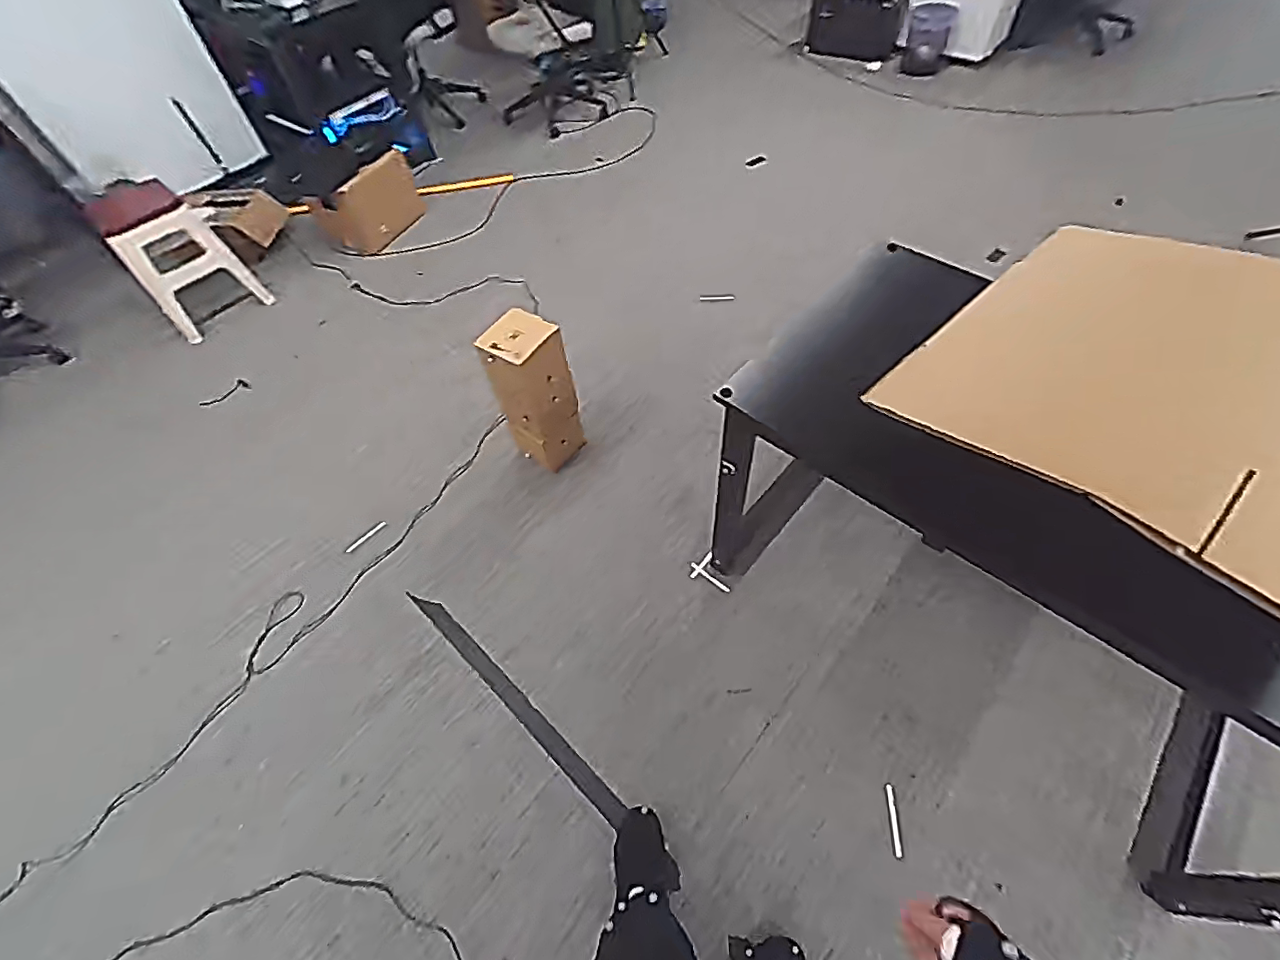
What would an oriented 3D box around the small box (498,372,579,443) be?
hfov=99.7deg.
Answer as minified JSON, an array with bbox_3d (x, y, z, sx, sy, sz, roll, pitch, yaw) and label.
[{"bbox_3d":[-0.307,-0.246,1.679,0.168,0.176,0.179,29,62,21],"label":"small box"}]

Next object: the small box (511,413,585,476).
[{"bbox_3d":[-0.299,-0.149,1.809,0.168,0.176,0.179,32,64,24],"label":"small box"}]

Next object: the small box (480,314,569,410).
[{"bbox_3d":[-0.320,-0.336,1.542,0.168,0.176,0.179,27,61,21],"label":"small box"}]
